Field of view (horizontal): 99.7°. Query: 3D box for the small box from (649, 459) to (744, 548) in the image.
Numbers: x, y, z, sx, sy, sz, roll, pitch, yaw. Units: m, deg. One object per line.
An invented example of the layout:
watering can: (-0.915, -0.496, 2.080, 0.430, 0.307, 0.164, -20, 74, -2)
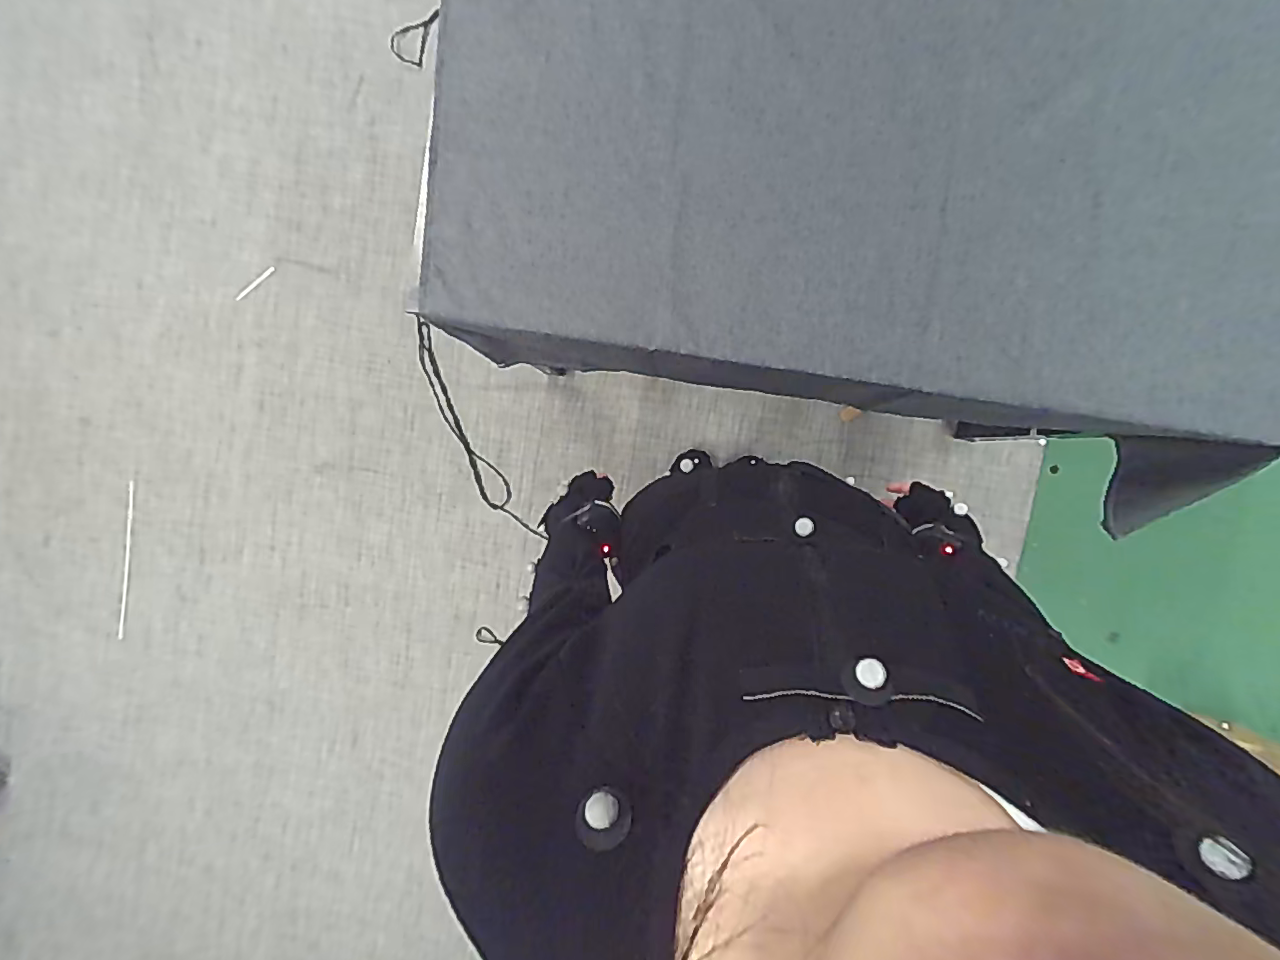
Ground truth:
small box: (0.145, 0.059, 1.430, 0.168, 0.176, 0.179, -46, 73, 16)

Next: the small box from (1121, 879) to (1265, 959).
small box: (1.398, 1.165, 1.377, 0.179, 0.176, 0.168, 10, 94, 4)

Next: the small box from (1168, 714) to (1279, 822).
small box: (1.489, 0.710, 1.344, 0.179, 0.176, 0.168, 14, 94, 3)
